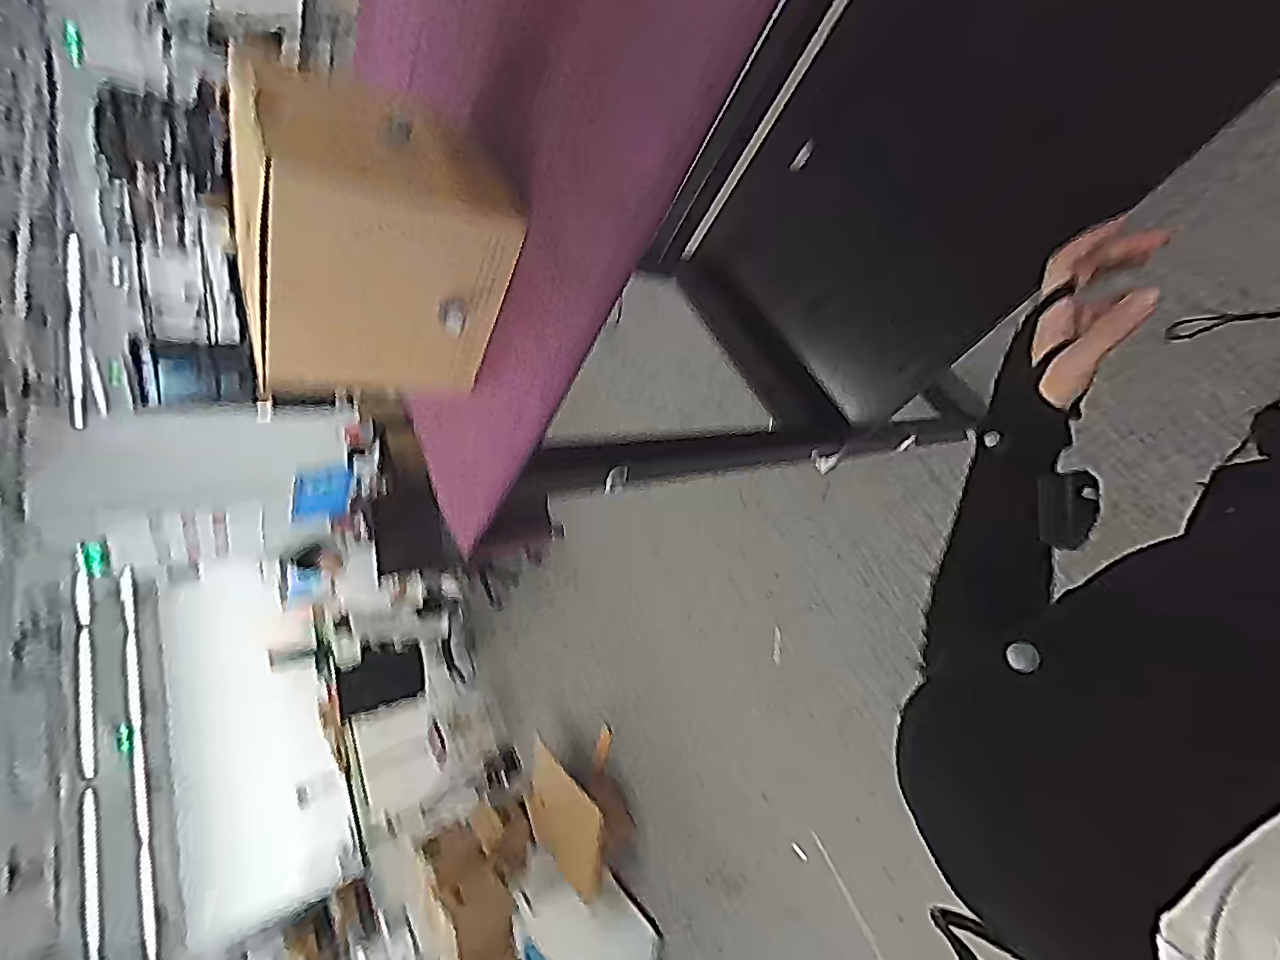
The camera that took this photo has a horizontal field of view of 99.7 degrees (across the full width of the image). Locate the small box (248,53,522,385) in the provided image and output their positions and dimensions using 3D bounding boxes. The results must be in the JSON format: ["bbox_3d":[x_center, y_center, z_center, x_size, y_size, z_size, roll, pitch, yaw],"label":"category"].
[{"bbox_3d":[-0.217,-0.199,0.457,0.179,0.176,0.168,-54,54,39],"label":"small box"}]
